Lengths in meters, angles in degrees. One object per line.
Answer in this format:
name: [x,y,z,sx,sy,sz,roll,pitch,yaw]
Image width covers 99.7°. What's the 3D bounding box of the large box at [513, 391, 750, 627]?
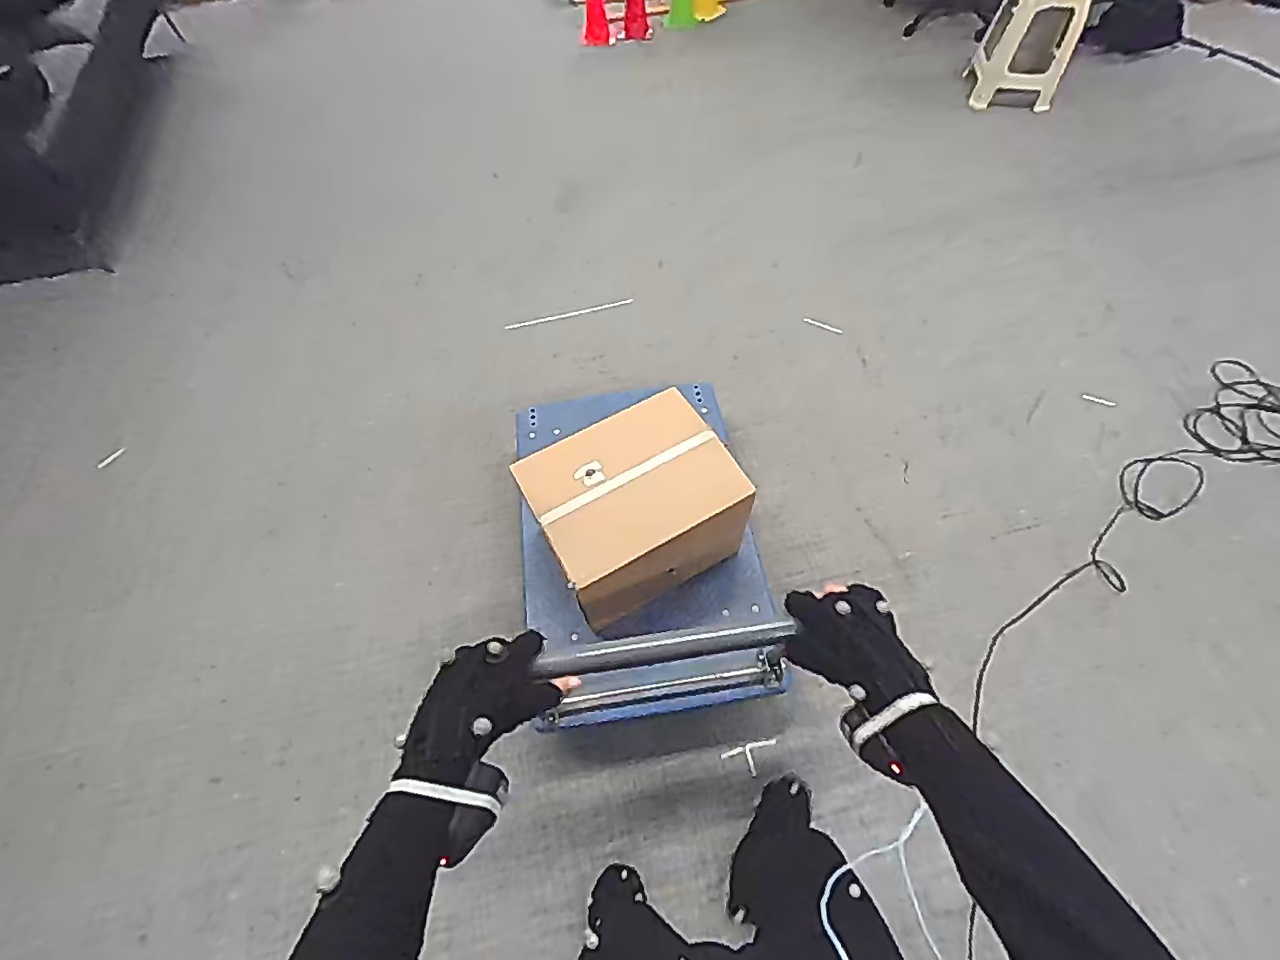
large box: [-0.015,0.074,1.235,0.408,0.320,0.320,-28,63,-12]
